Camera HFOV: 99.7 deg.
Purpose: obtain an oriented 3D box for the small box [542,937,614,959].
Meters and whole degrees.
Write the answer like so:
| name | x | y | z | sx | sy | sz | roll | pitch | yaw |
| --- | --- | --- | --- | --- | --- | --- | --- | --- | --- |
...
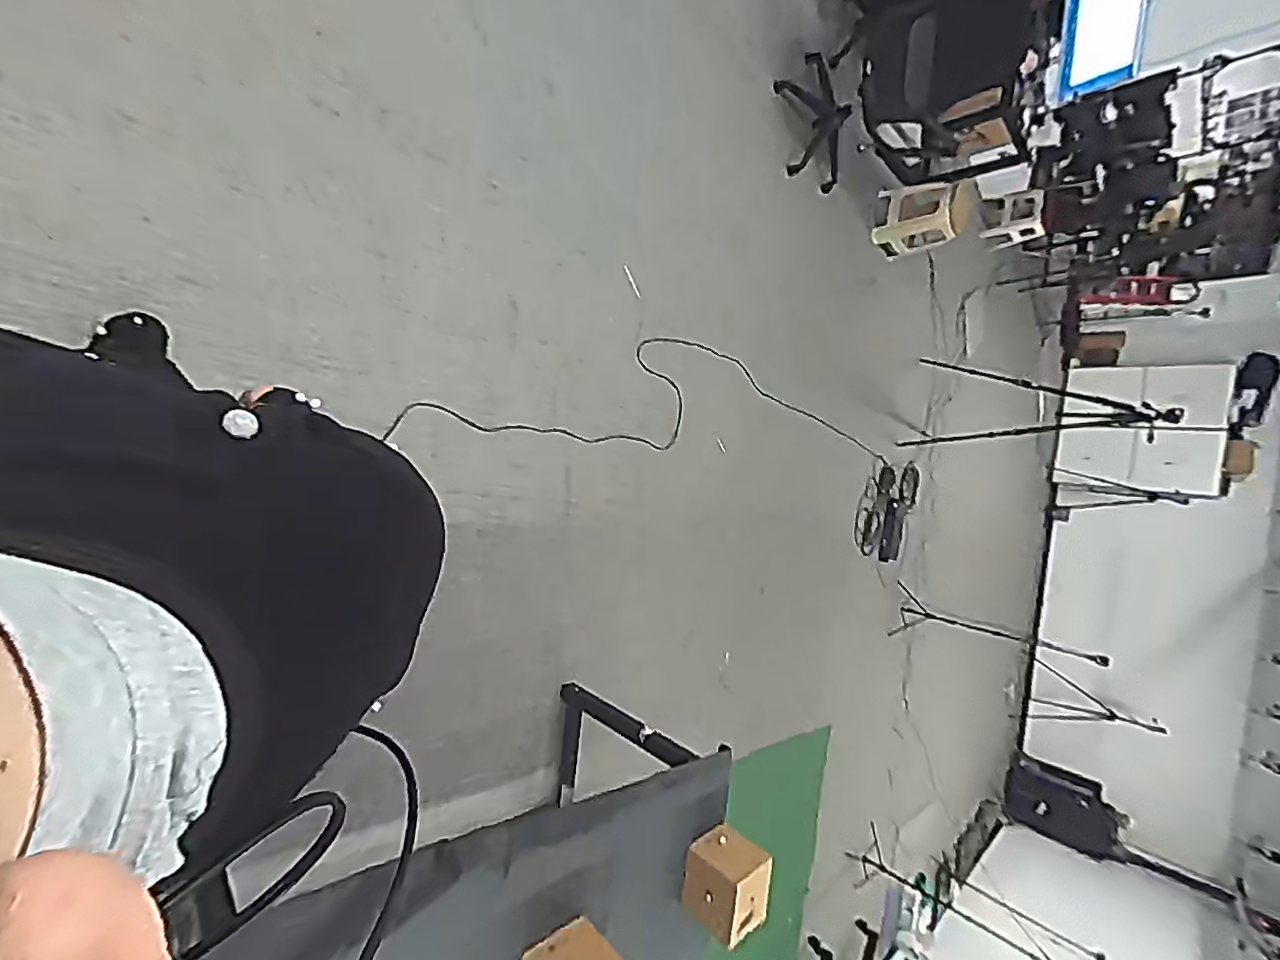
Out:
| name | x | y | z | sx | sy | sz | roll | pitch | yaw |
| --- | --- | --- | --- | --- | --- | --- | --- | --- | --- |
| small box | -0.128 | 1.078 | 1.087 | 0.168 | 0.176 | 0.179 | 3 | 94 | -44 |

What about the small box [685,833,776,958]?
| name | x | y | z | sx | sy | sz | roll | pitch | yaw |
| --- | --- | --- | --- | --- | --- | --- | --- | --- | --- |
| small box | 0.240 | 1.102 | 1.451 | 0.168 | 0.176 | 0.179 | 5 | 92 | -45 |
